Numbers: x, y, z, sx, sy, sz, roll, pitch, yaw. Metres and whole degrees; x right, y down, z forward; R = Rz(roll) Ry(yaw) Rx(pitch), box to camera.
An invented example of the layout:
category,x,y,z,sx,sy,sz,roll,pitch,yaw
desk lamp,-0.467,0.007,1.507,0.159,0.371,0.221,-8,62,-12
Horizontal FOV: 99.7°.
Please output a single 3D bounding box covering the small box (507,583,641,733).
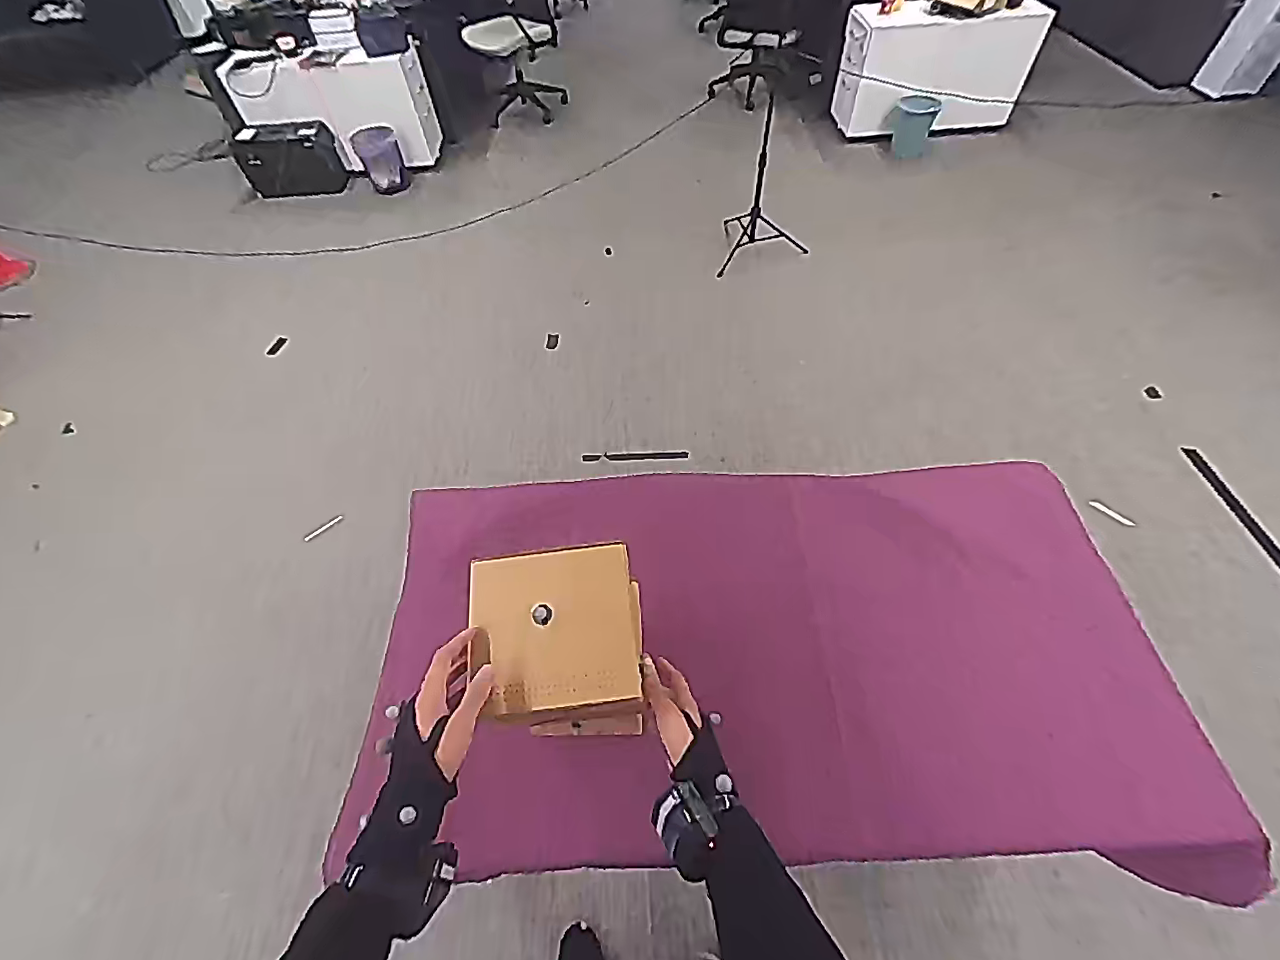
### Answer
category,x,y,z,sx,sy,sz,roll,pitch,yaw
small box,-0.083,0.265,0.795,0.168,0.176,0.179,0,54,2
